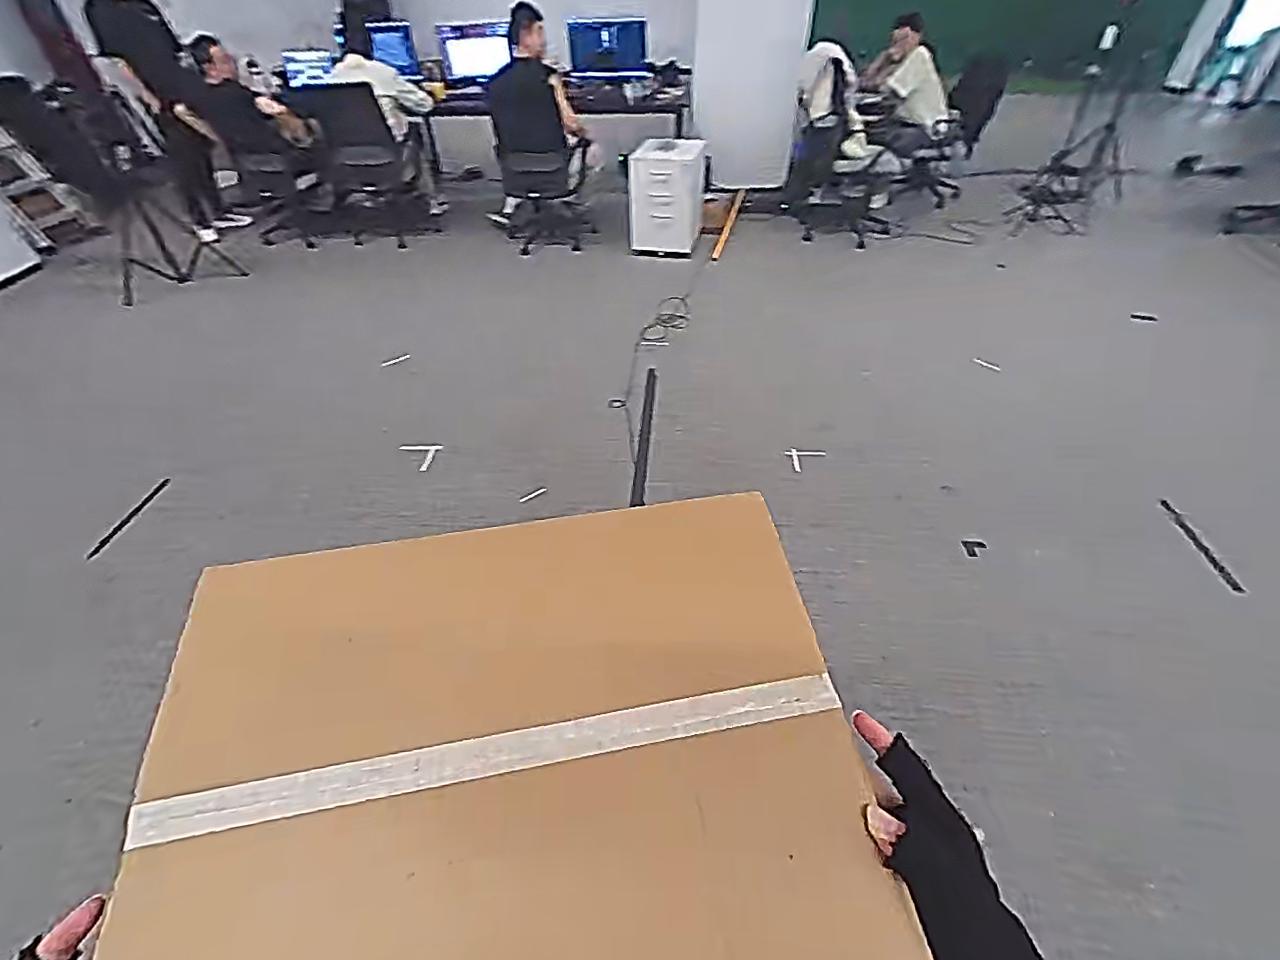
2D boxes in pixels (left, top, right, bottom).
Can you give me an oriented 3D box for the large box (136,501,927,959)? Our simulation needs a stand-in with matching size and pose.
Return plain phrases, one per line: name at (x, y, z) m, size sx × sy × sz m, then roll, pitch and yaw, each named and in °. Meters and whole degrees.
large box at (-0.074, 0.252, 0.454) m, size 0.408 × 0.320 × 0.320 m, roll -7°, pitch 57°, yaw -6°
